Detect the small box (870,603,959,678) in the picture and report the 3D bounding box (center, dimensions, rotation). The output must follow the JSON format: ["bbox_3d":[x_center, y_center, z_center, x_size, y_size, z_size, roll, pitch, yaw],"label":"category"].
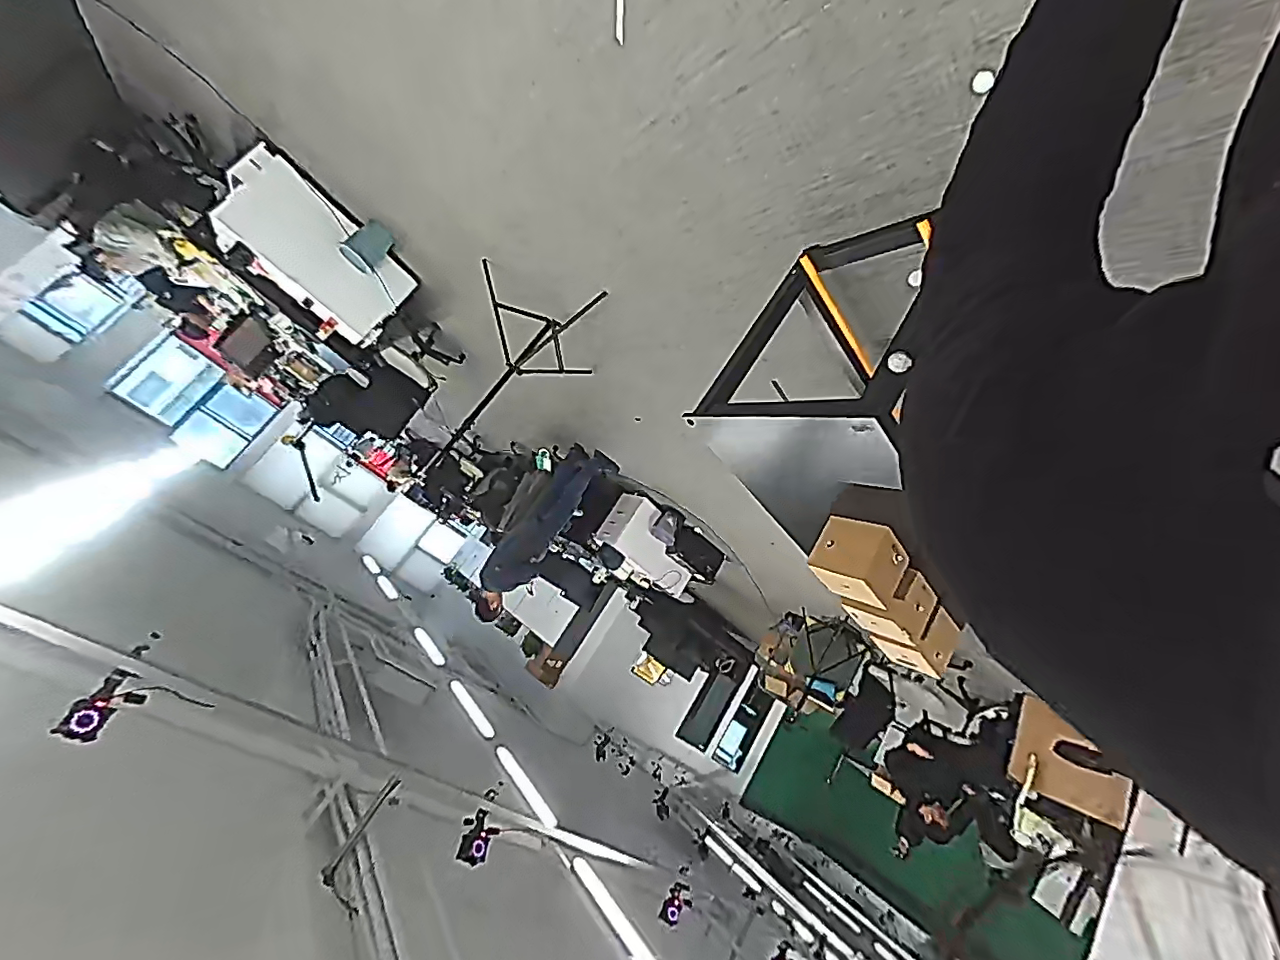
[{"bbox_3d":[0.871,0.484,1.704,0.179,0.176,0.168,44,161,-28],"label":"small box"}]

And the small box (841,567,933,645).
[{"bbox_3d":[0.737,0.354,1.598,0.168,0.176,0.179,44,161,-31],"label":"small box"}]

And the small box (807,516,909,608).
[{"bbox_3d":[0.599,0.218,1.481,0.168,0.176,0.179,43,162,-32],"label":"small box"}]
